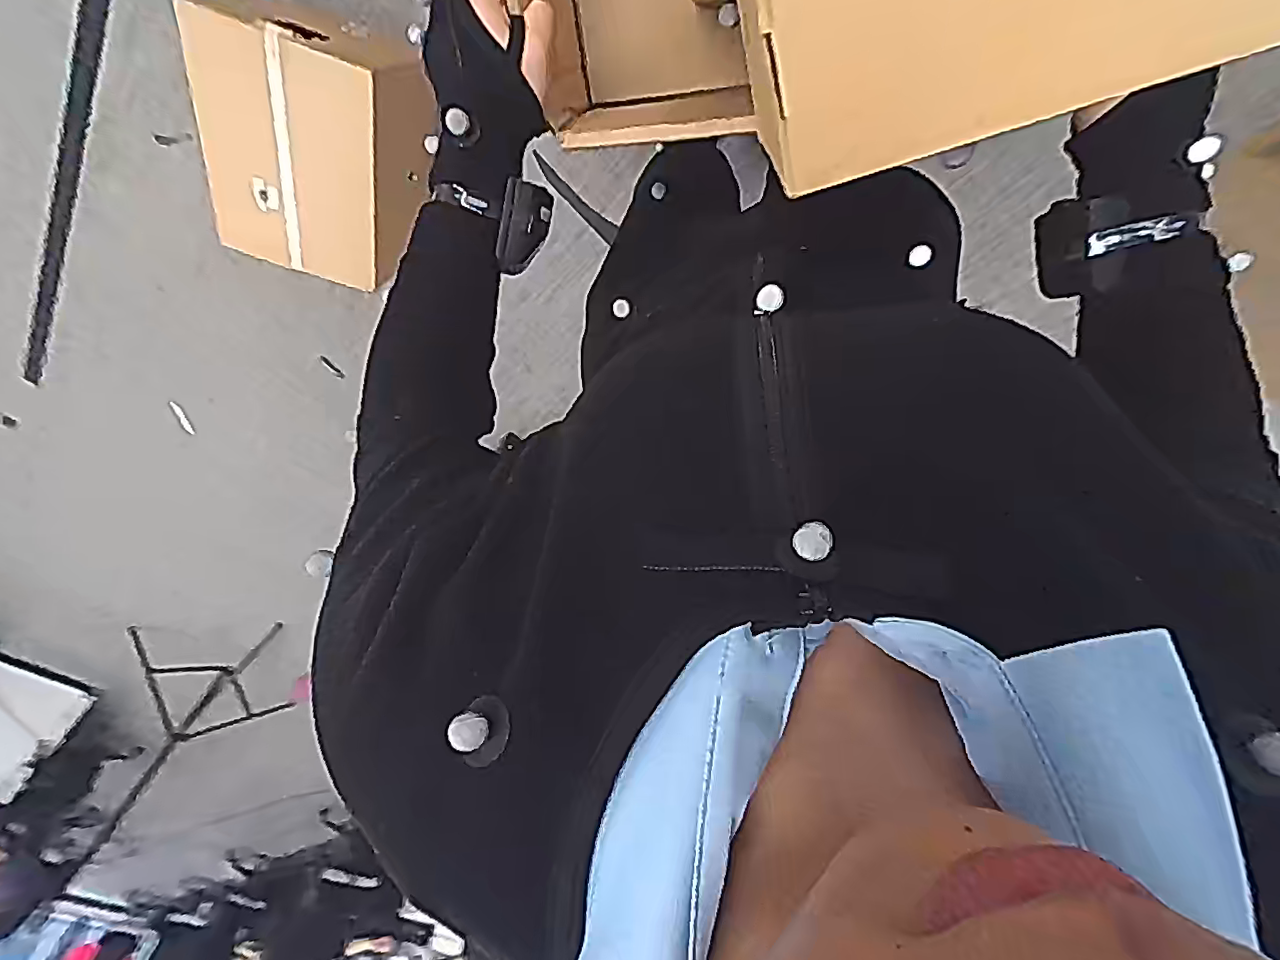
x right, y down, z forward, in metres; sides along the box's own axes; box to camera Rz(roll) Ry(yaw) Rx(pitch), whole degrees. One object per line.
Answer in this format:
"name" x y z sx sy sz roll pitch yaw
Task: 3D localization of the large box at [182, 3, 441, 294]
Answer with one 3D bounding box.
"large box" -0.617 -0.670 1.105 0.320 0.320 0.408 17 131 -7
